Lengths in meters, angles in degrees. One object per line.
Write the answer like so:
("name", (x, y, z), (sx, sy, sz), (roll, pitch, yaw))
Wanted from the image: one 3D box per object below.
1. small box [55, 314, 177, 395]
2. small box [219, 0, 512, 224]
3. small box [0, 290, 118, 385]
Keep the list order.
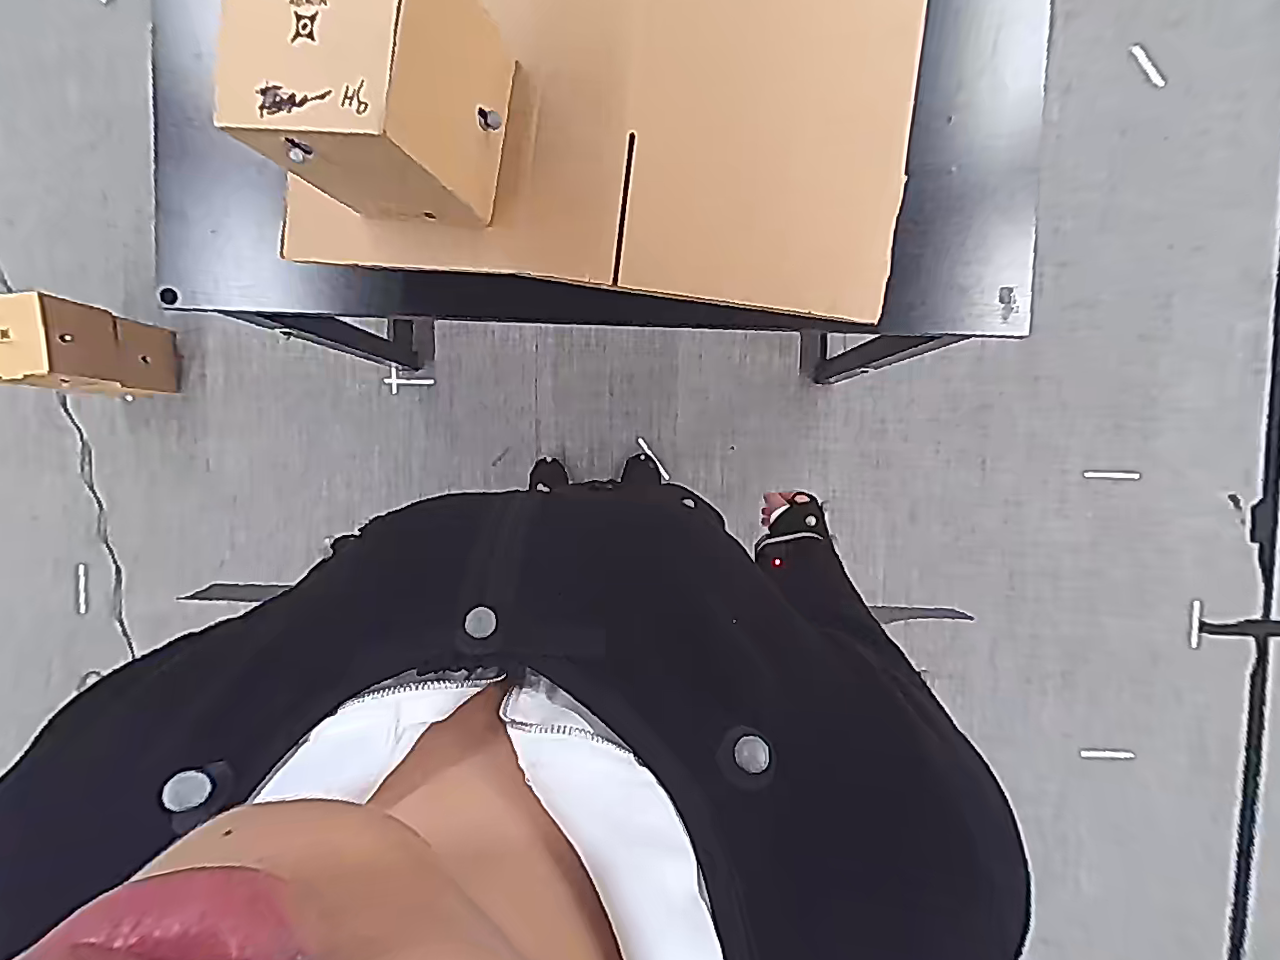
("small box", (-1.339, -0.316, 1.384), (0.168, 0.176, 0.179), (-2, 94, 0))
("small box", (-0.235, -0.367, 0.502), (0.168, 0.176, 0.179), (11, 94, 13))
("small box", (-1.339, -0.313, 1.221), (0.168, 0.176, 0.179), (-6, 92, -1))
